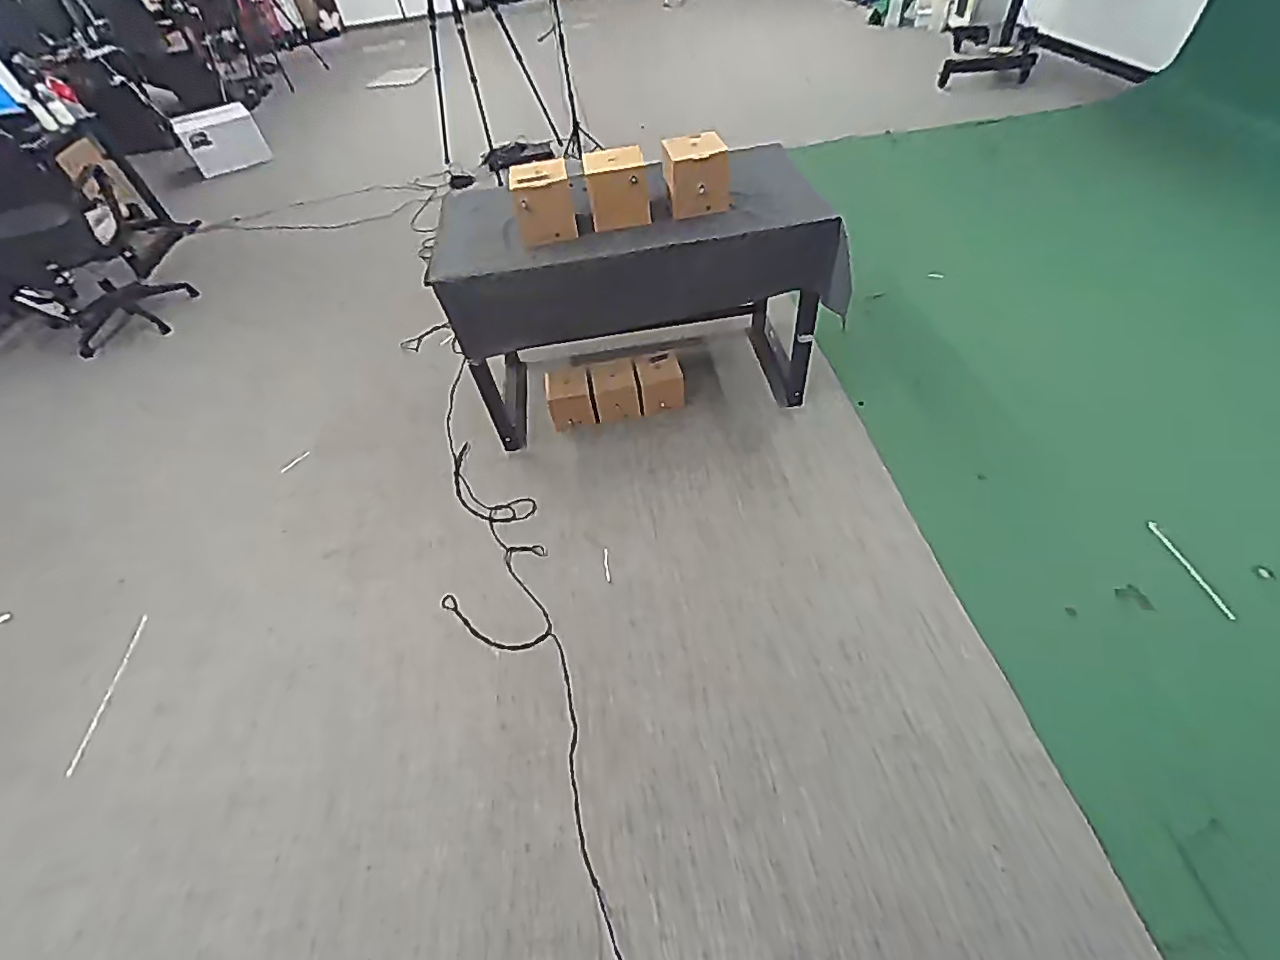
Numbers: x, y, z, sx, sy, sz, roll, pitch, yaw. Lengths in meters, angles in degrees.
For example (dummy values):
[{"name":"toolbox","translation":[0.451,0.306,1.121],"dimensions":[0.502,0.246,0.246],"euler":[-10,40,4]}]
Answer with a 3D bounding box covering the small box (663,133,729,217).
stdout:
[{"name":"small box","translation":[0.168,-0.911,1.627],"dimensions":[0.168,0.176,0.179],"euler":[-10,50,-2]}]
